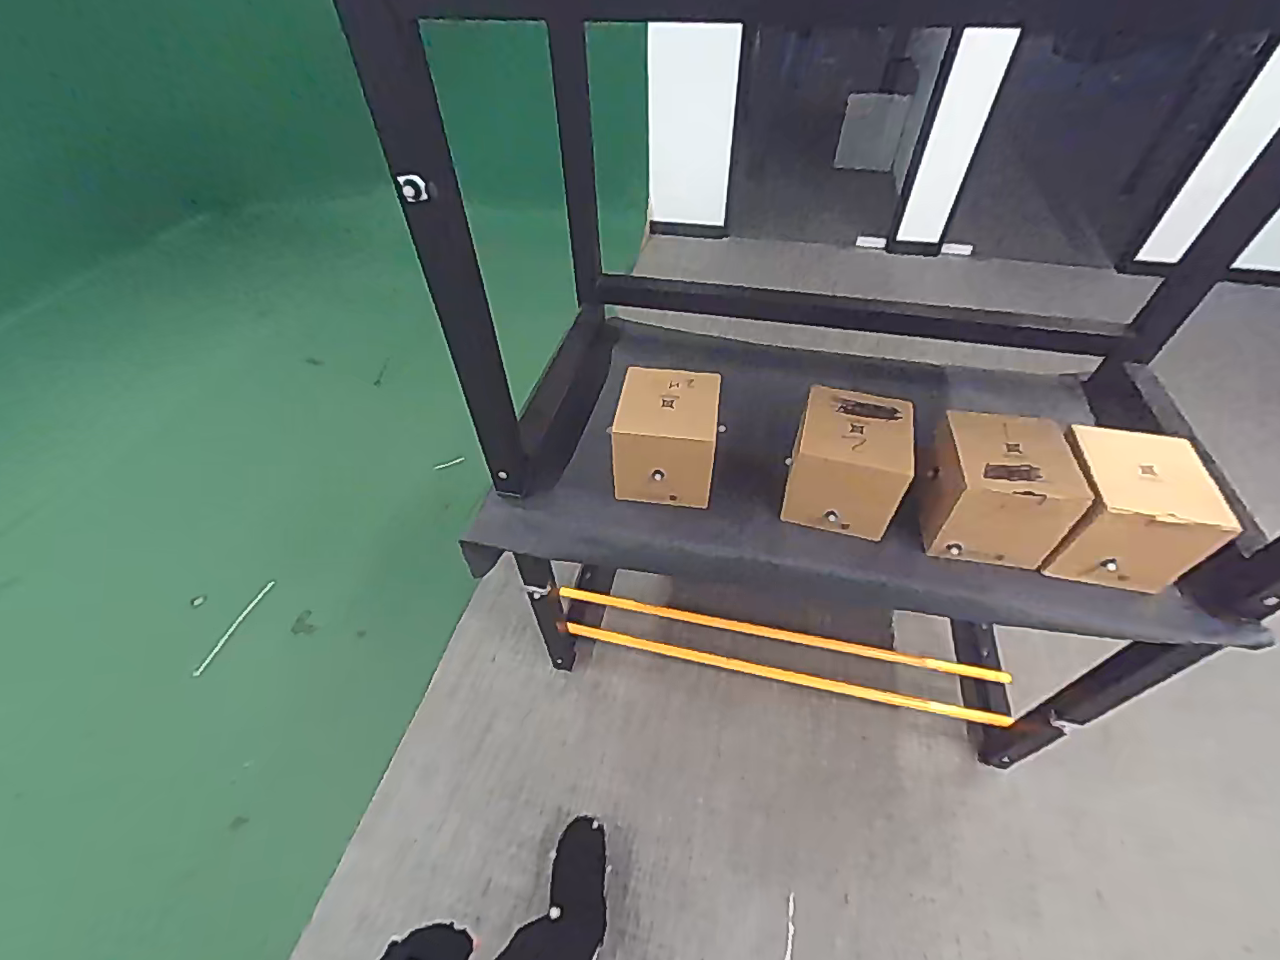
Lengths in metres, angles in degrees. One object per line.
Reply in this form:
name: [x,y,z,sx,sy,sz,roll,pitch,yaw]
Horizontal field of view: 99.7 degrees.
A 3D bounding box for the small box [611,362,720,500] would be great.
small box: [0.048,-0.084,0.954,0.168,0.176,0.179,6,48,6]
